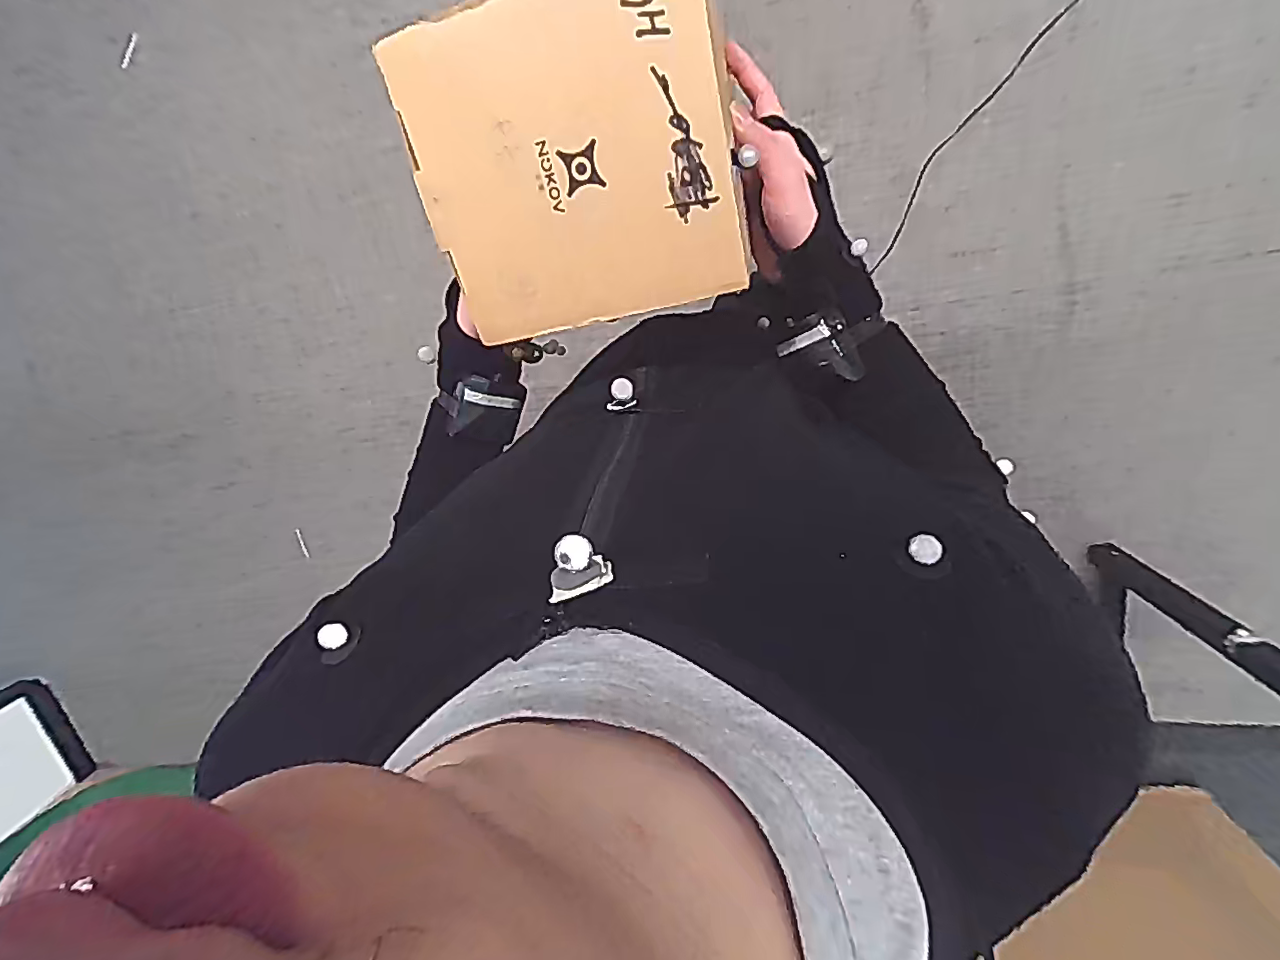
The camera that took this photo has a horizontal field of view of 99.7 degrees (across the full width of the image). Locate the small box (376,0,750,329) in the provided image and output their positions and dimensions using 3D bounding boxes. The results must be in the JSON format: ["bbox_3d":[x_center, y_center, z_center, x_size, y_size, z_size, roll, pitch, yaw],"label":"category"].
[{"bbox_3d":[-0.026,-0.213,0.364,0.179,0.176,0.168,-6,117,17],"label":"small box"}]
